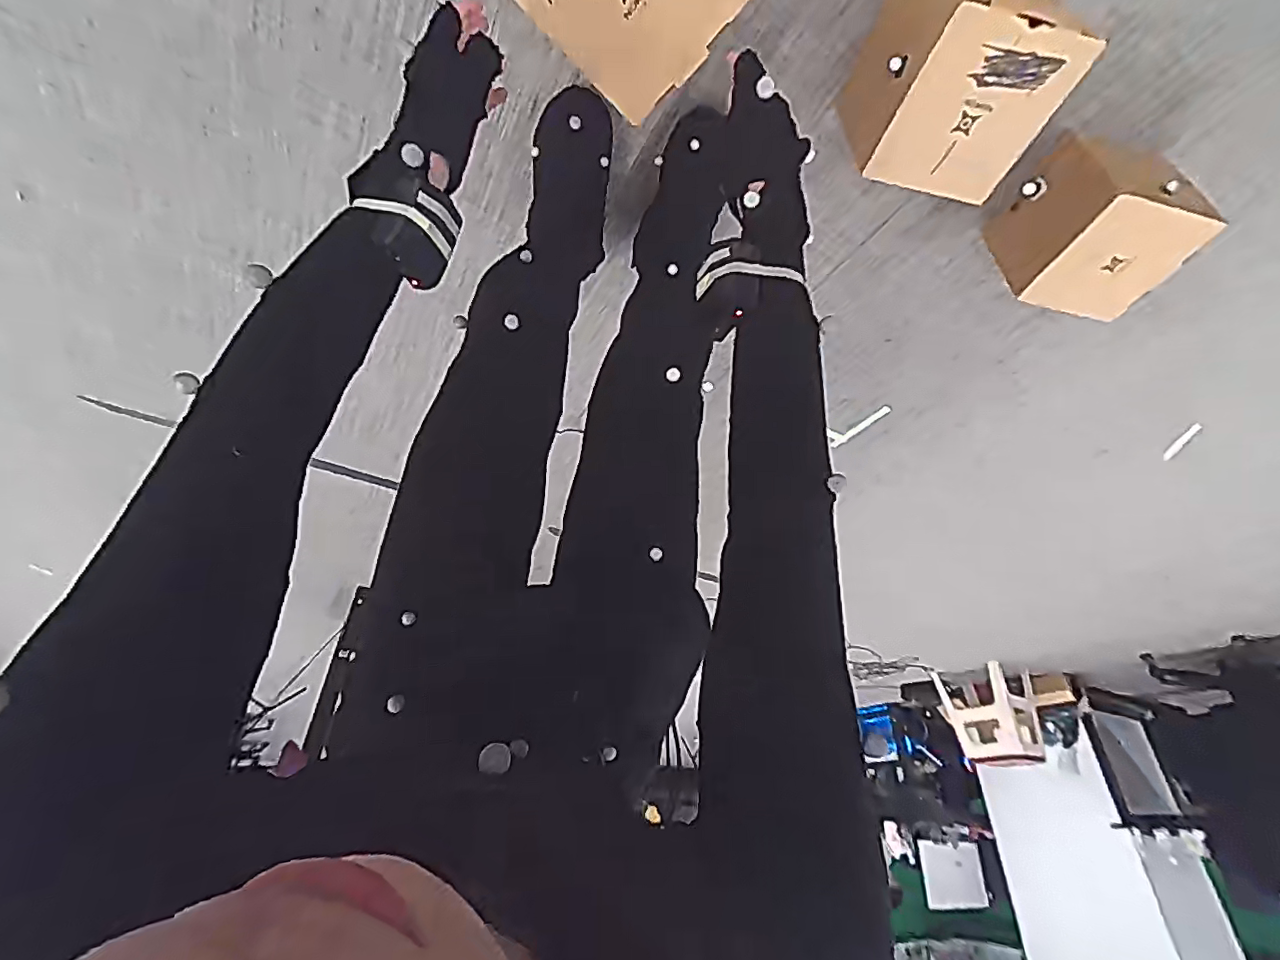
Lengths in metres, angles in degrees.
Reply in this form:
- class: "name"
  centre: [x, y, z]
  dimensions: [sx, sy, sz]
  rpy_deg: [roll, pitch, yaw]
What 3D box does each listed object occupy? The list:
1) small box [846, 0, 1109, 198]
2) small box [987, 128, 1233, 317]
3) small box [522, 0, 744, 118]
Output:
- class: "small box"
  centre: [0.360, -0.468, 0.621]
  dimensions: [0.168, 0.176, 0.179]
  rpy_deg: [8, 147, -9]
- class: "small box"
  centre: [0.647, -0.365, 0.771]
  dimensions: [0.179, 0.176, 0.168]
  rpy_deg: [9, 145, -9]
- class: "small box"
  centre: [-0.009, -0.532, 0.547]
  dimensions: [0.179, 0.176, 0.168]
  rpy_deg: [29, 138, -35]
